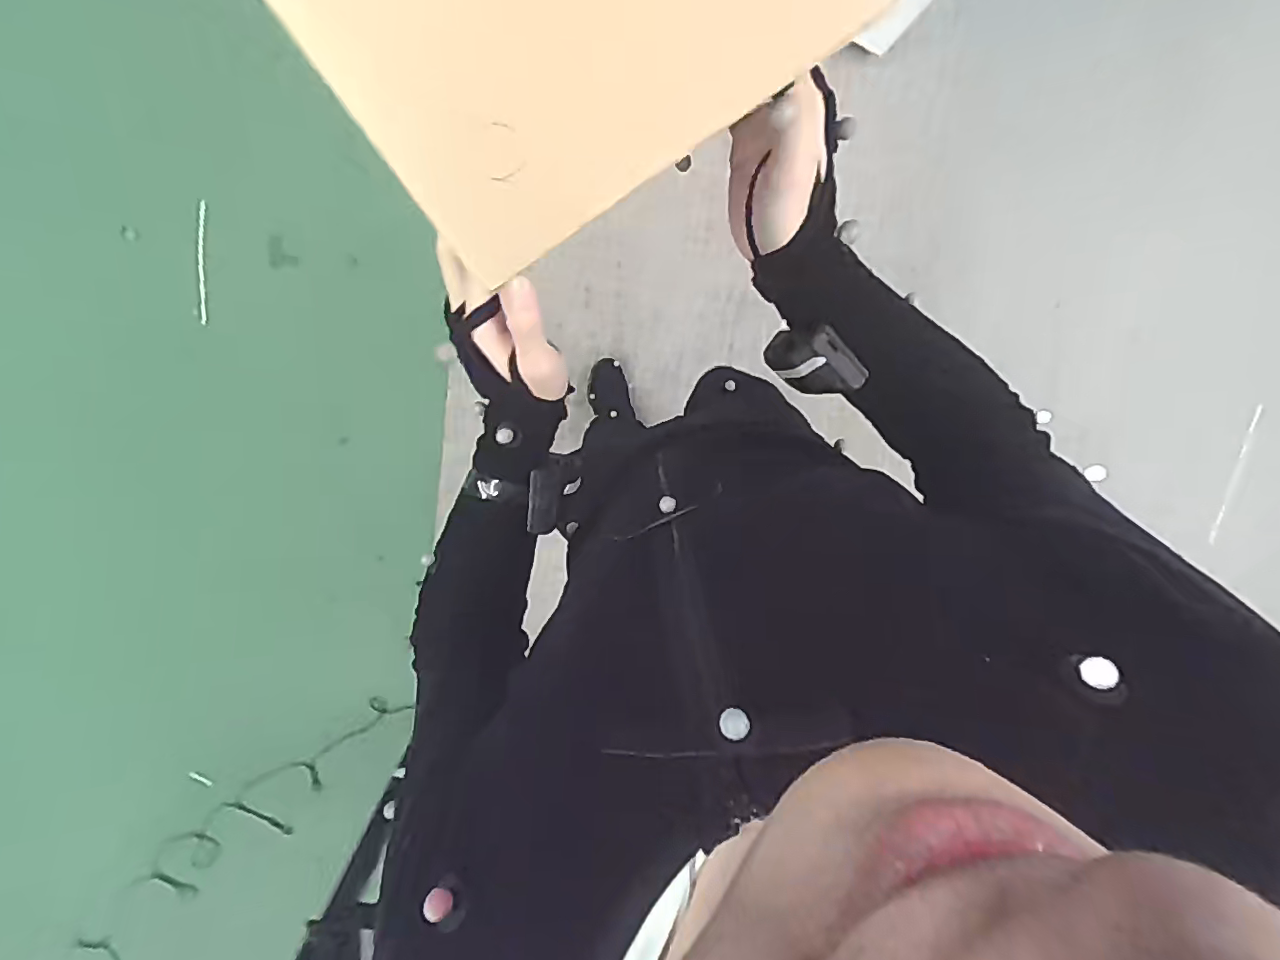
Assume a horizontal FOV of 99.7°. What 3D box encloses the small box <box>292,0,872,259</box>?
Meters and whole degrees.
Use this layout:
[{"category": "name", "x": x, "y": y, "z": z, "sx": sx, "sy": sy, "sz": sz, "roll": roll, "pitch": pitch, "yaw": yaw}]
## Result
[{"category": "small box", "x": -0.034, "y": -0.216, "z": 0.224, "sx": 0.179, "sy": 0.176, "sz": 0.168, "roll": -31, "pitch": 115, "yaw": 9}]
